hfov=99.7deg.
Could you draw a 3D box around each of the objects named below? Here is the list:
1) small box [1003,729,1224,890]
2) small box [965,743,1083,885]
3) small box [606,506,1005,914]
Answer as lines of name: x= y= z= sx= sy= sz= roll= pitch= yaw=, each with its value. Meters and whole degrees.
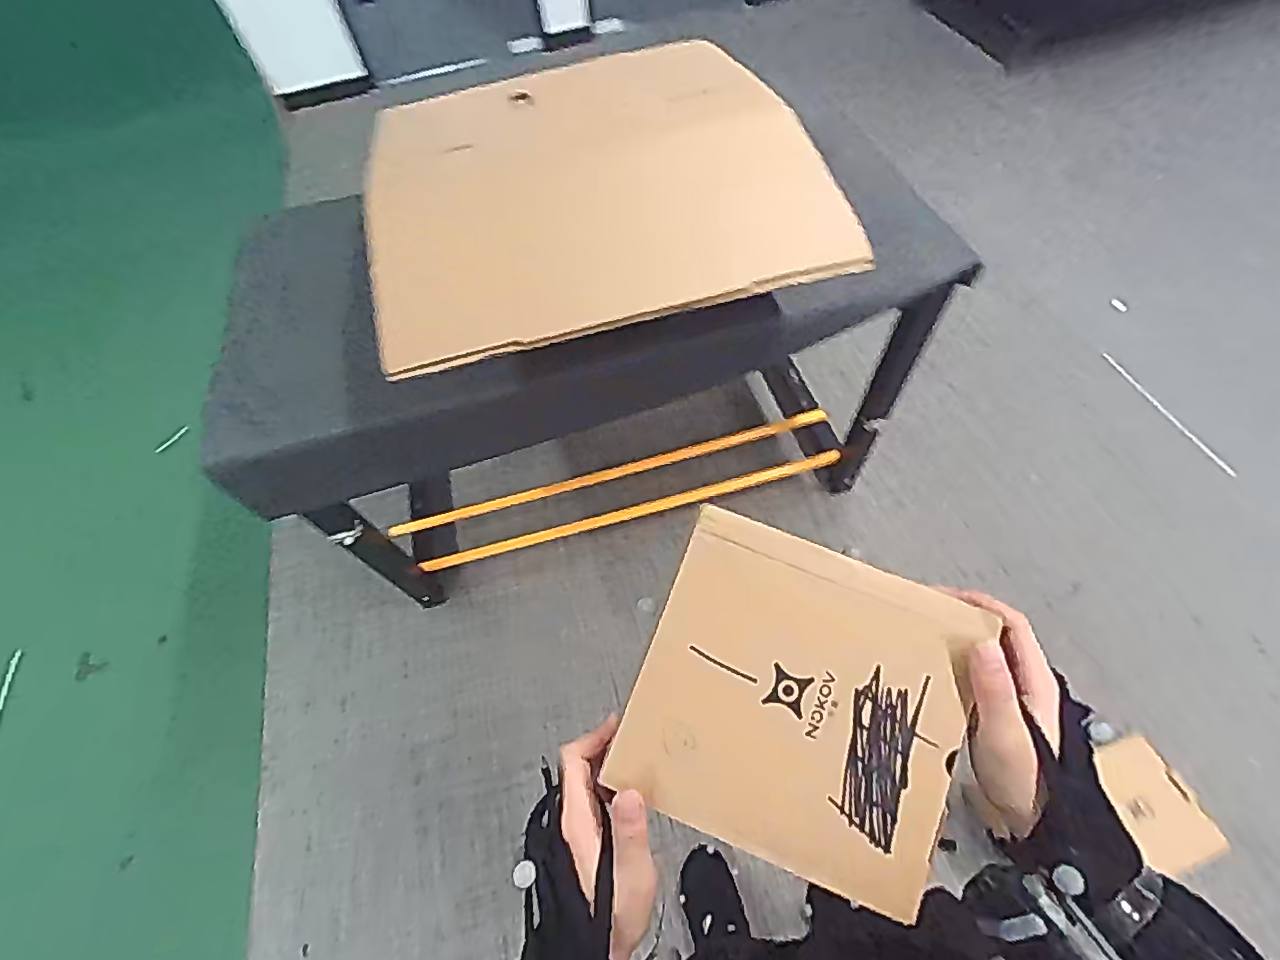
small box: x=0.753 y=0.531 z=0.886 sx=0.179 sy=0.176 sz=0.168 roll=-21 pitch=59 yaw=-7
small box: x=0.764 y=0.625 z=1.021 sx=0.168 sy=0.176 sz=0.179 roll=-21 pitch=59 yaw=-7
small box: x=0.096 y=0.132 z=0.376 sx=0.179 sy=0.176 sz=0.168 roll=22 pitch=82 yaw=7
